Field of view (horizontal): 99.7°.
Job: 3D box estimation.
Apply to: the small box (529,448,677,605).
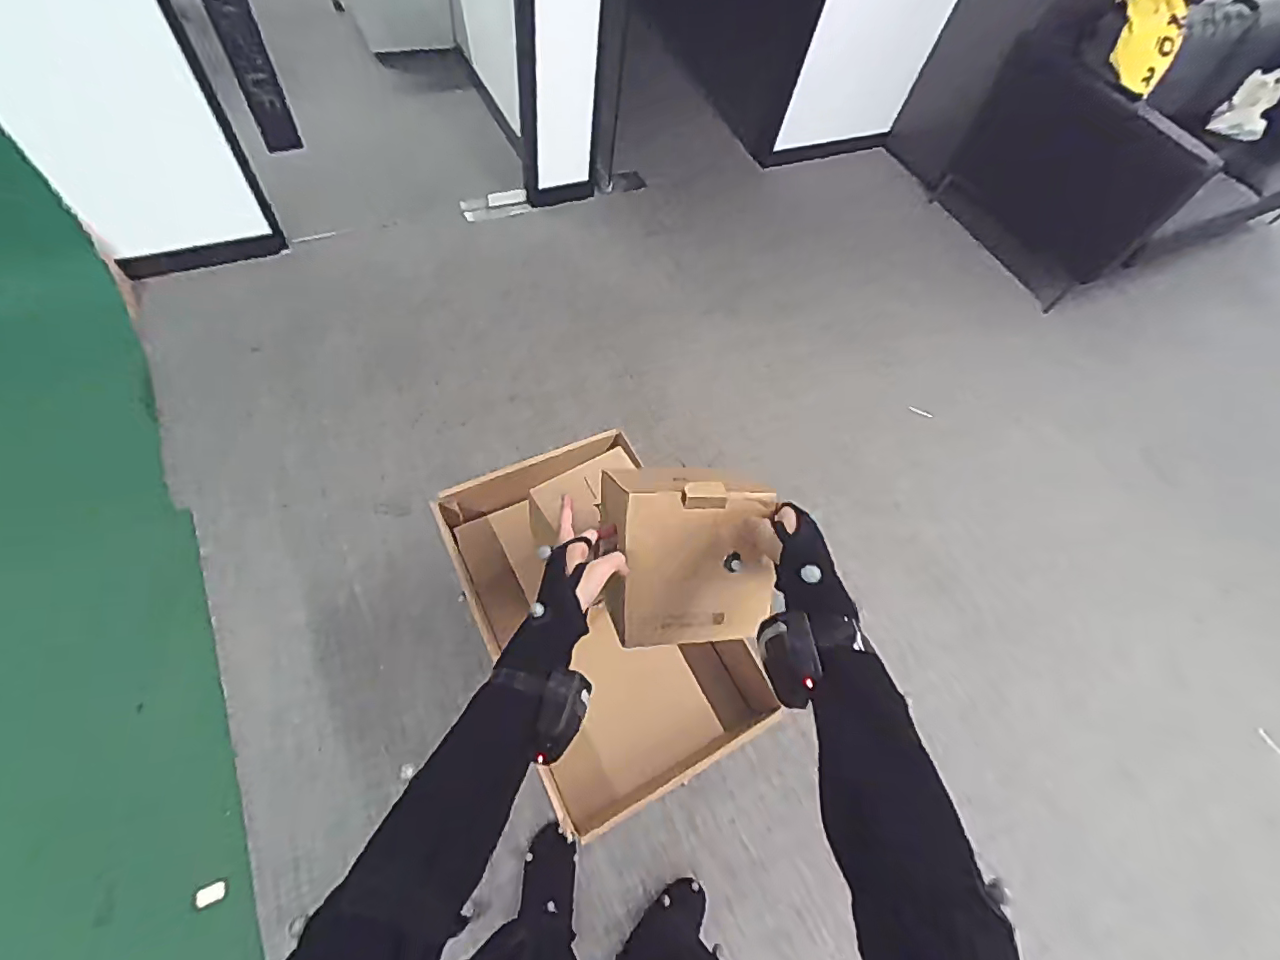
[{"bbox_3d":[-0.066,0.085,0.876,0.168,0.176,0.179,-27,71,-22],"label":"small box"}]
